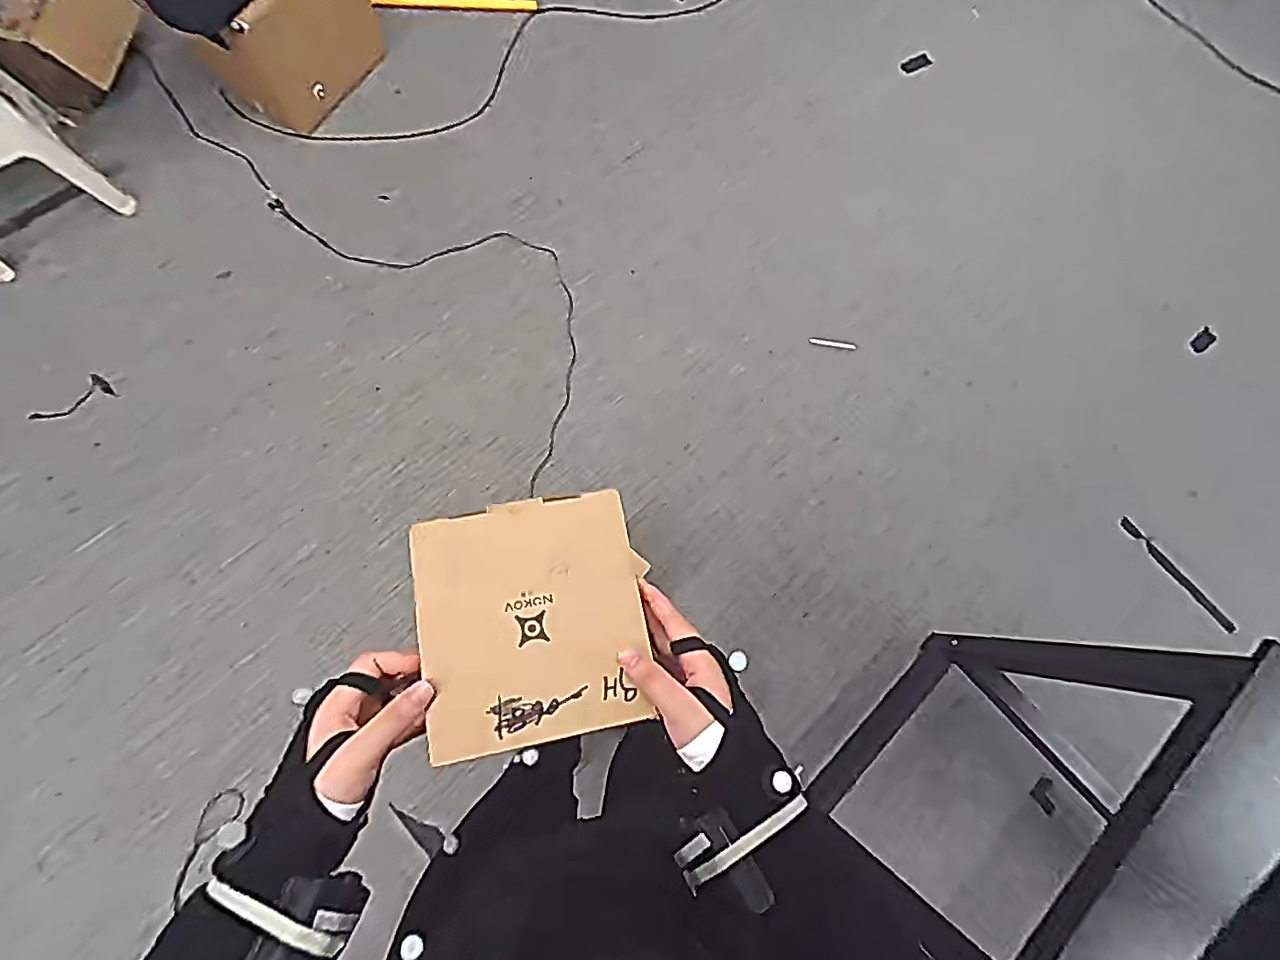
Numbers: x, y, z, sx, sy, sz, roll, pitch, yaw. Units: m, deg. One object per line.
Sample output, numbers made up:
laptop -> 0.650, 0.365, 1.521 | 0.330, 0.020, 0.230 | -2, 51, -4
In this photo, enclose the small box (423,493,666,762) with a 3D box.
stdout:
small box -> -0.081, 0.130, 0.484 | 0.168, 0.176, 0.179 | -10, 72, -6
